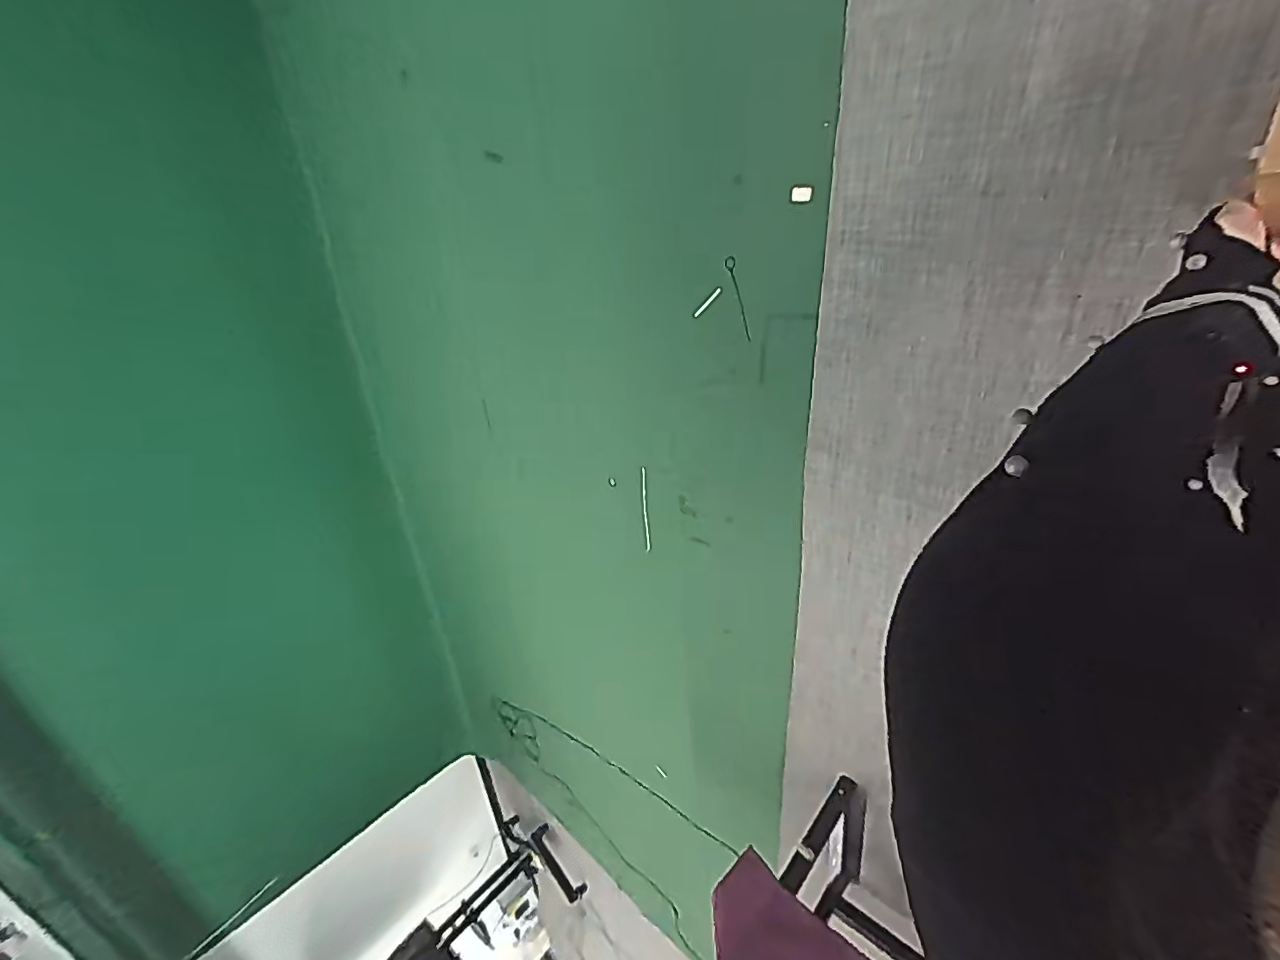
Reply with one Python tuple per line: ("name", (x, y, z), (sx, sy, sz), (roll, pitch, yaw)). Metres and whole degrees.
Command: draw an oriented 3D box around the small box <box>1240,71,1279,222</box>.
("small box", (0.581, -0.294, 0.384), (0.168, 0.176, 0.179), (23, 108, 45))
